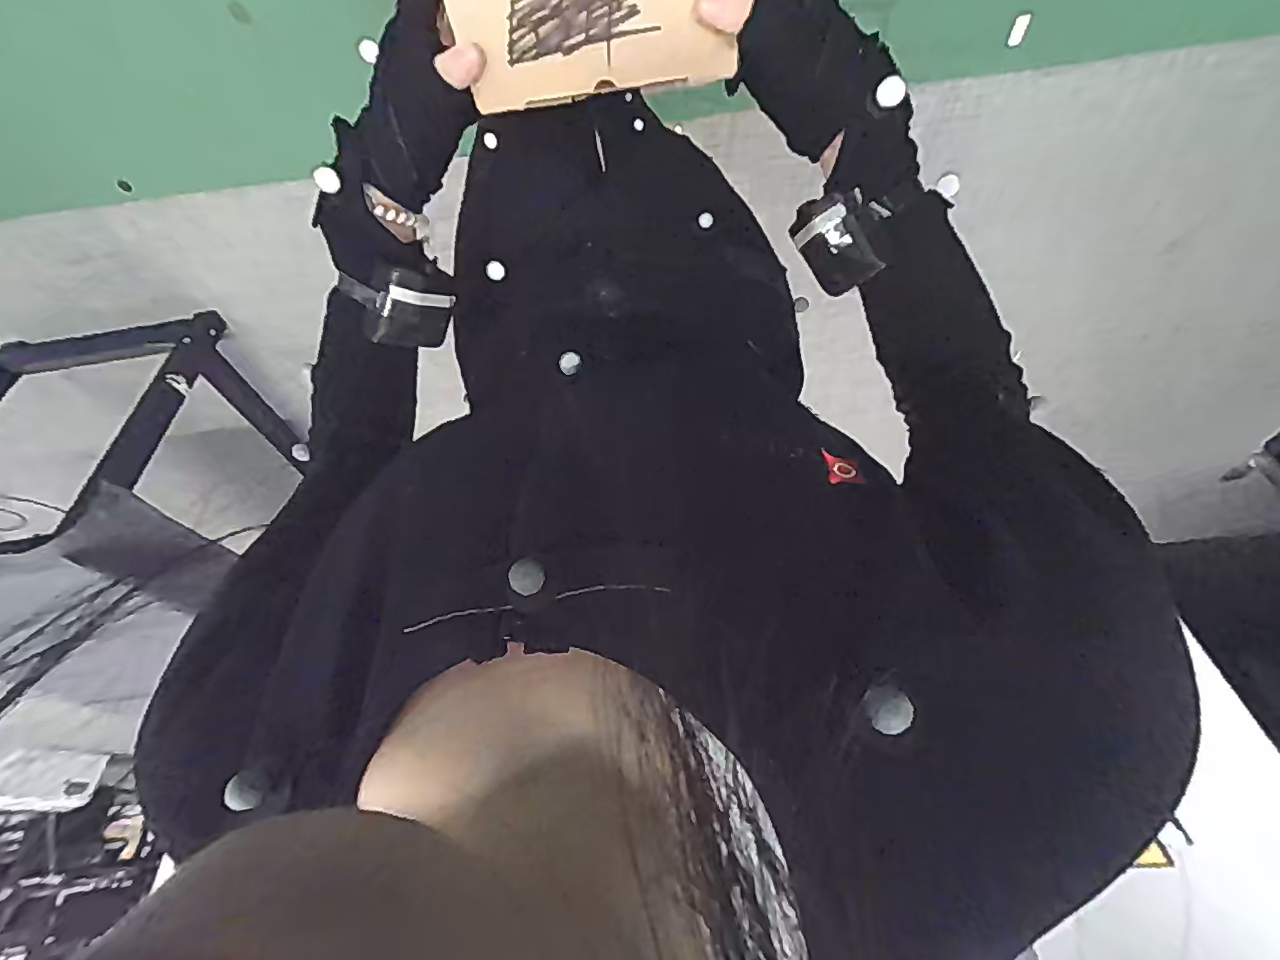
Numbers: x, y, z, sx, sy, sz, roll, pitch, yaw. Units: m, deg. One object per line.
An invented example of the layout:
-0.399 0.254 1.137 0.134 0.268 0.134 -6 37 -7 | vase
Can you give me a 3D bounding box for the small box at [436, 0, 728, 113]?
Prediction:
-0.038 -0.355 0.319 0.168 0.176 0.179 -6 141 4 | small box
